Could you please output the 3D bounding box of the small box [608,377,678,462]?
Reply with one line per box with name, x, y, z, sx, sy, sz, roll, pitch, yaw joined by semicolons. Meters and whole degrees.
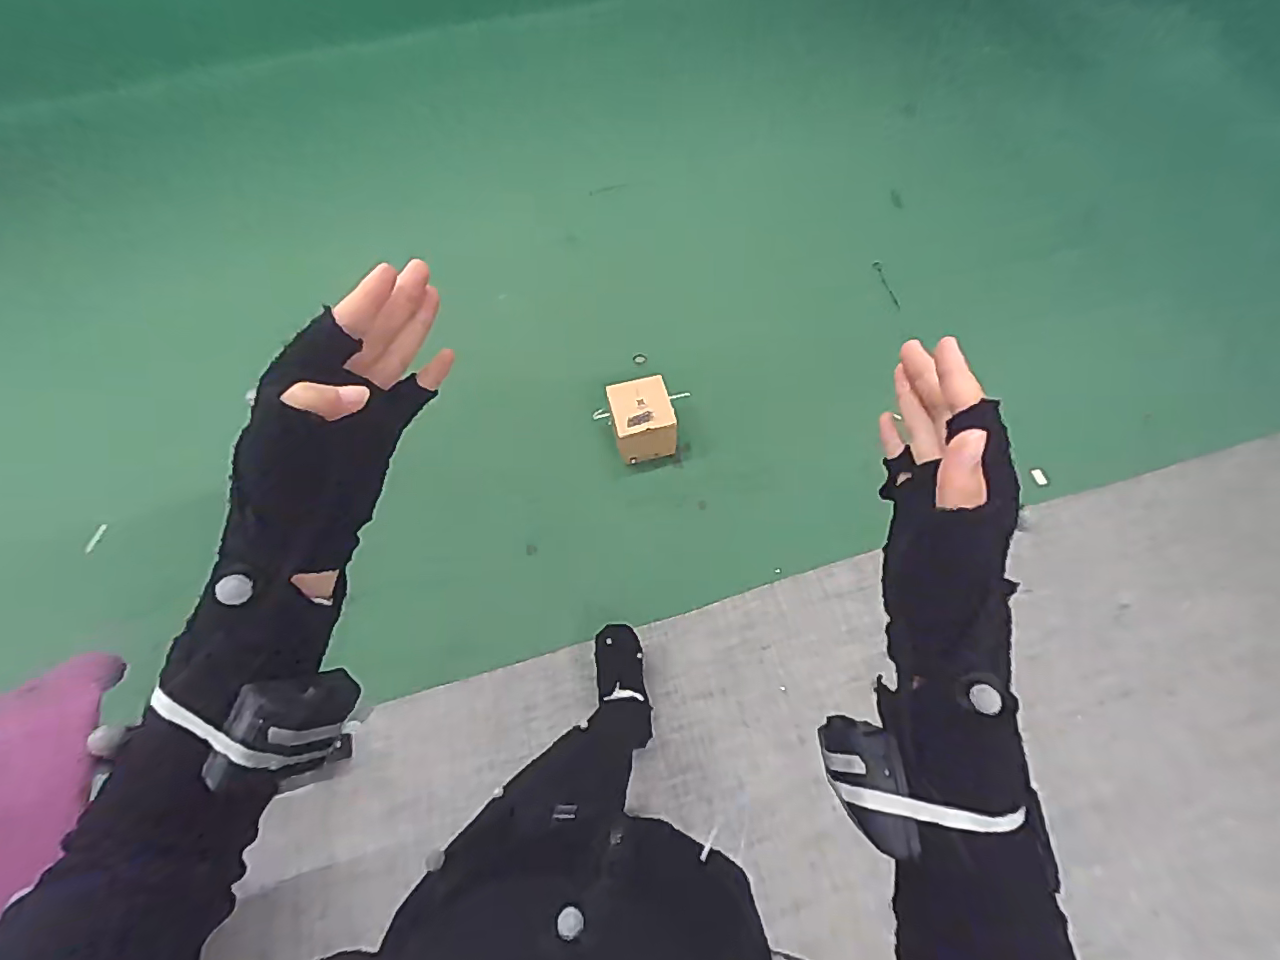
small box;0.009;-0.167;1.572;0.168;0.176;0.179;-13;63;-5
